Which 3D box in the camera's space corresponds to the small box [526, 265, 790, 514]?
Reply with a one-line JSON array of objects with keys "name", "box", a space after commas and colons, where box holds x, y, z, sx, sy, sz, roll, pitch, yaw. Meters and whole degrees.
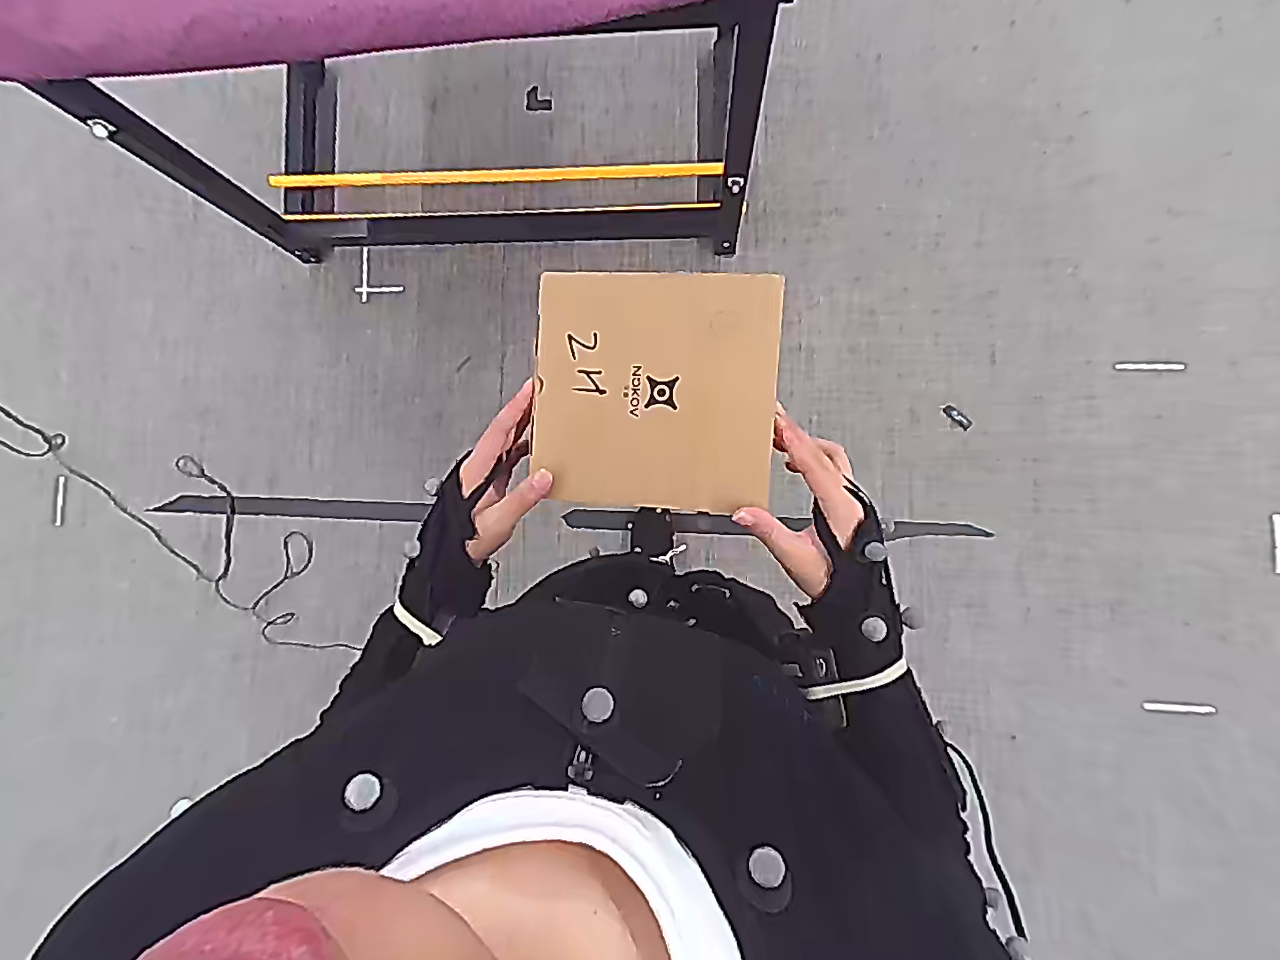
[{"name": "small box", "box": [0.021, -0.067, 0.455, 0.179, 0.176, 0.168, 4, 92, 9]}]
